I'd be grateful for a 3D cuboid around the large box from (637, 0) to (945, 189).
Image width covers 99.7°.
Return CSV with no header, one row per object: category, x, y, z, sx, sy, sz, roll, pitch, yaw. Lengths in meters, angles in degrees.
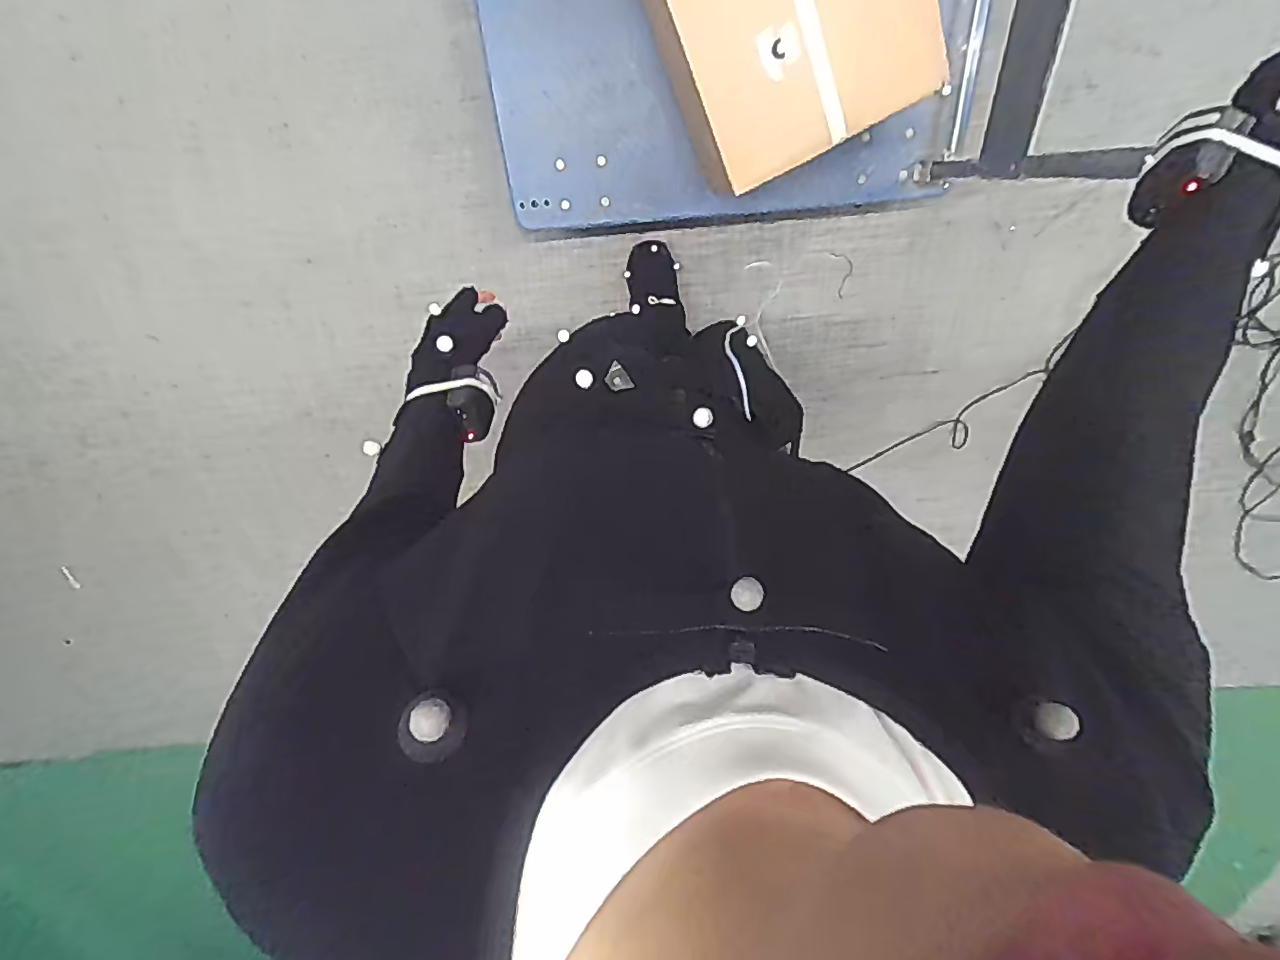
large box,0.188,-0.715,0.811,0.320,0.320,0.408,-23,117,13
